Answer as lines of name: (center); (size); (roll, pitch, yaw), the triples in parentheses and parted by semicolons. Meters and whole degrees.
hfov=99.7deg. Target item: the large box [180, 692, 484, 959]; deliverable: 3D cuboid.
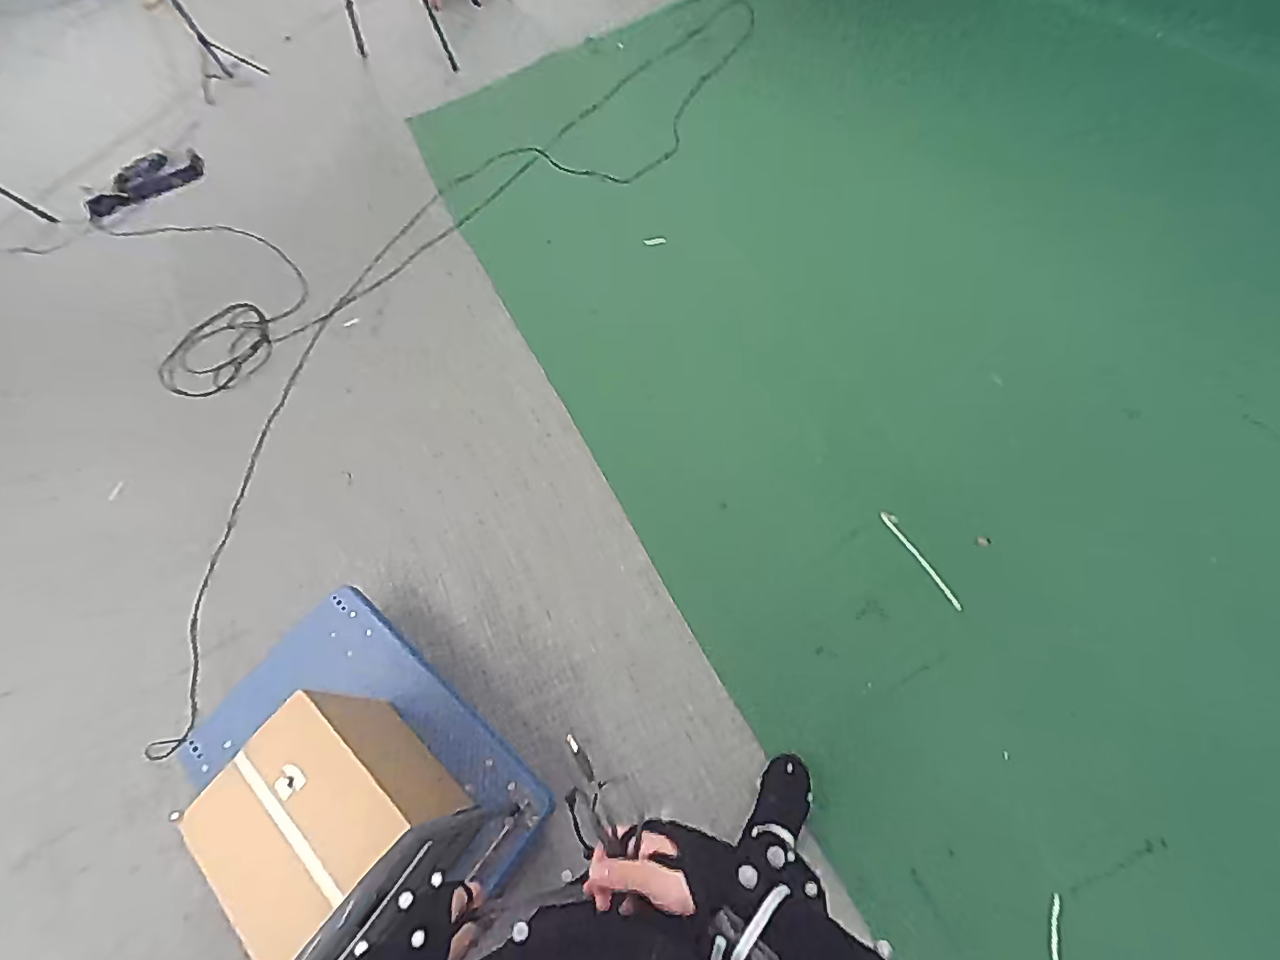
large box: (-0.614, 0.711, 1.127); (0.408, 0.320, 0.320); (33, 73, 24)
